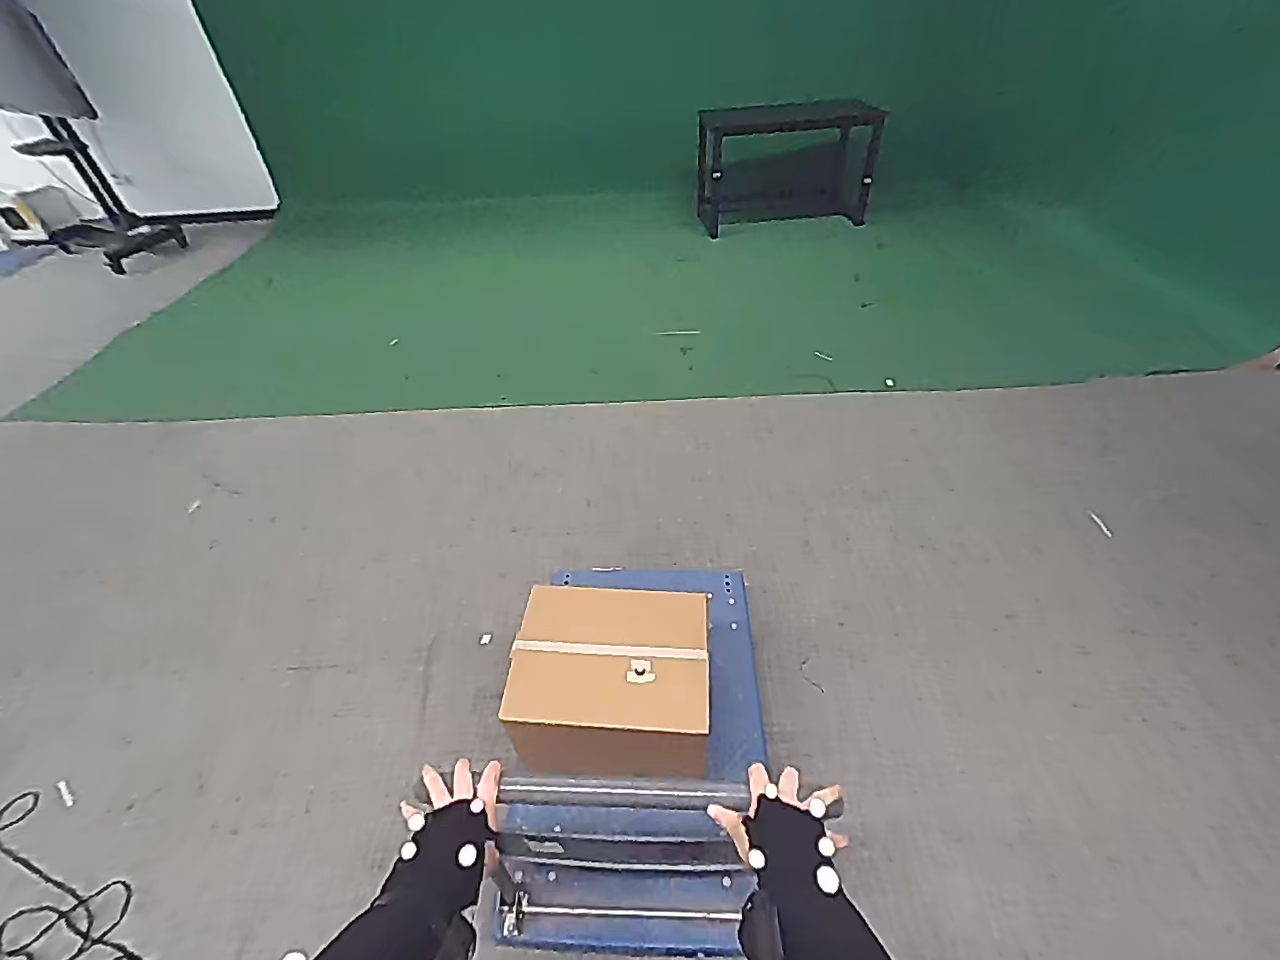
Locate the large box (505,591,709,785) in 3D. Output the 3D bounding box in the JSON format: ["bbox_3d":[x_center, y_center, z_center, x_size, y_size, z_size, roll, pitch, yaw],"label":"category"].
[{"bbox_3d":[-0.057,0.478,1.248,0.408,0.320,0.320,2,43,3],"label":"large box"}]
